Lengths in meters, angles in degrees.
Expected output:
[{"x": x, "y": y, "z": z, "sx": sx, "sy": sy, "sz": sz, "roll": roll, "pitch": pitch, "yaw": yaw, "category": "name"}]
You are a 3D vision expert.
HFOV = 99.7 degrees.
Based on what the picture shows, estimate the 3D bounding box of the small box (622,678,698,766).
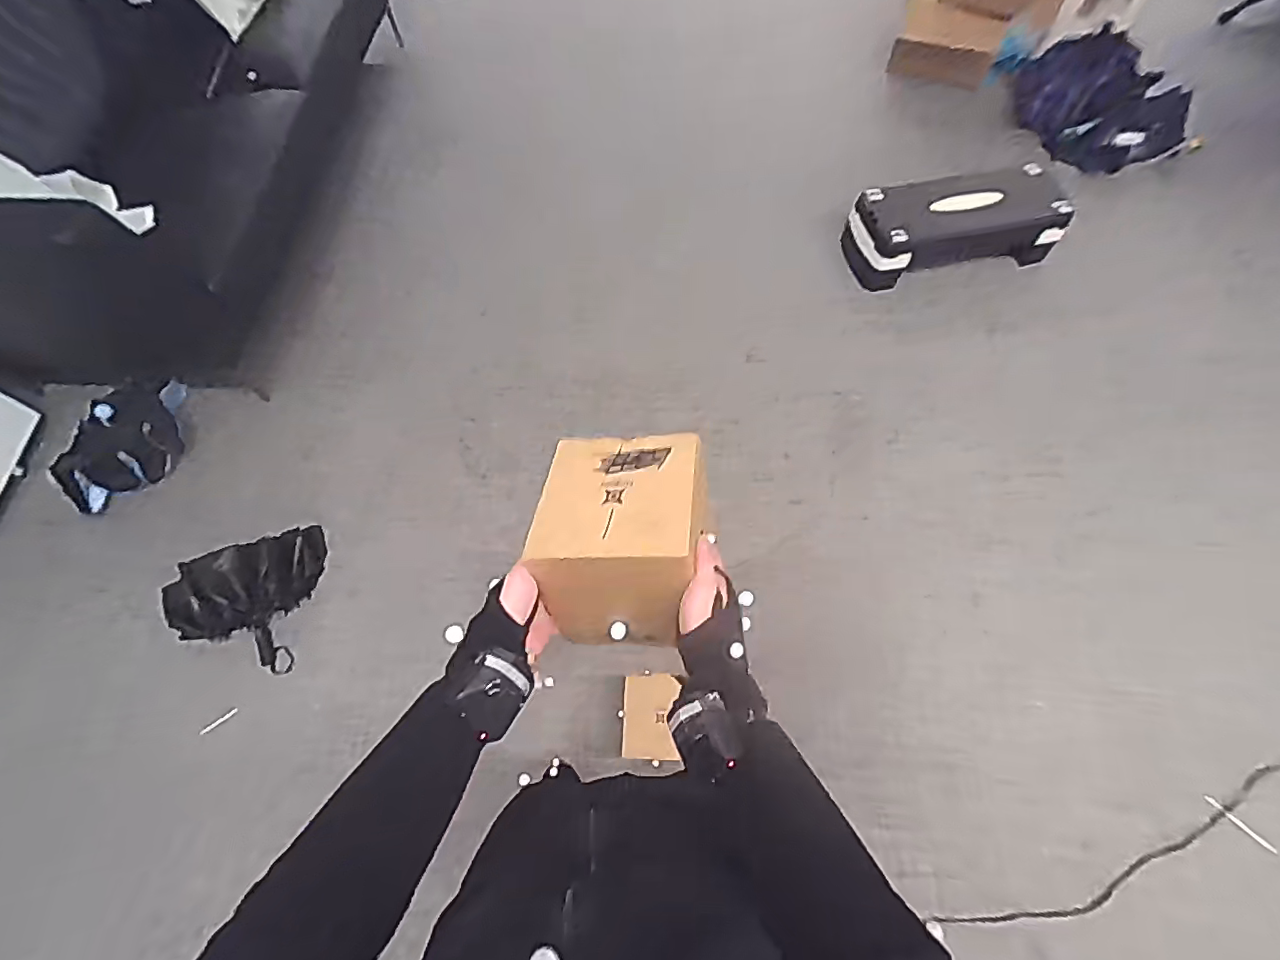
[{"x": 0.049, "y": 0.567, "z": 1.268, "sx": 0.168, "sy": 0.176, "sz": 0.179, "roll": 0, "pitch": 65, "yaw": 4, "category": "small box"}]
